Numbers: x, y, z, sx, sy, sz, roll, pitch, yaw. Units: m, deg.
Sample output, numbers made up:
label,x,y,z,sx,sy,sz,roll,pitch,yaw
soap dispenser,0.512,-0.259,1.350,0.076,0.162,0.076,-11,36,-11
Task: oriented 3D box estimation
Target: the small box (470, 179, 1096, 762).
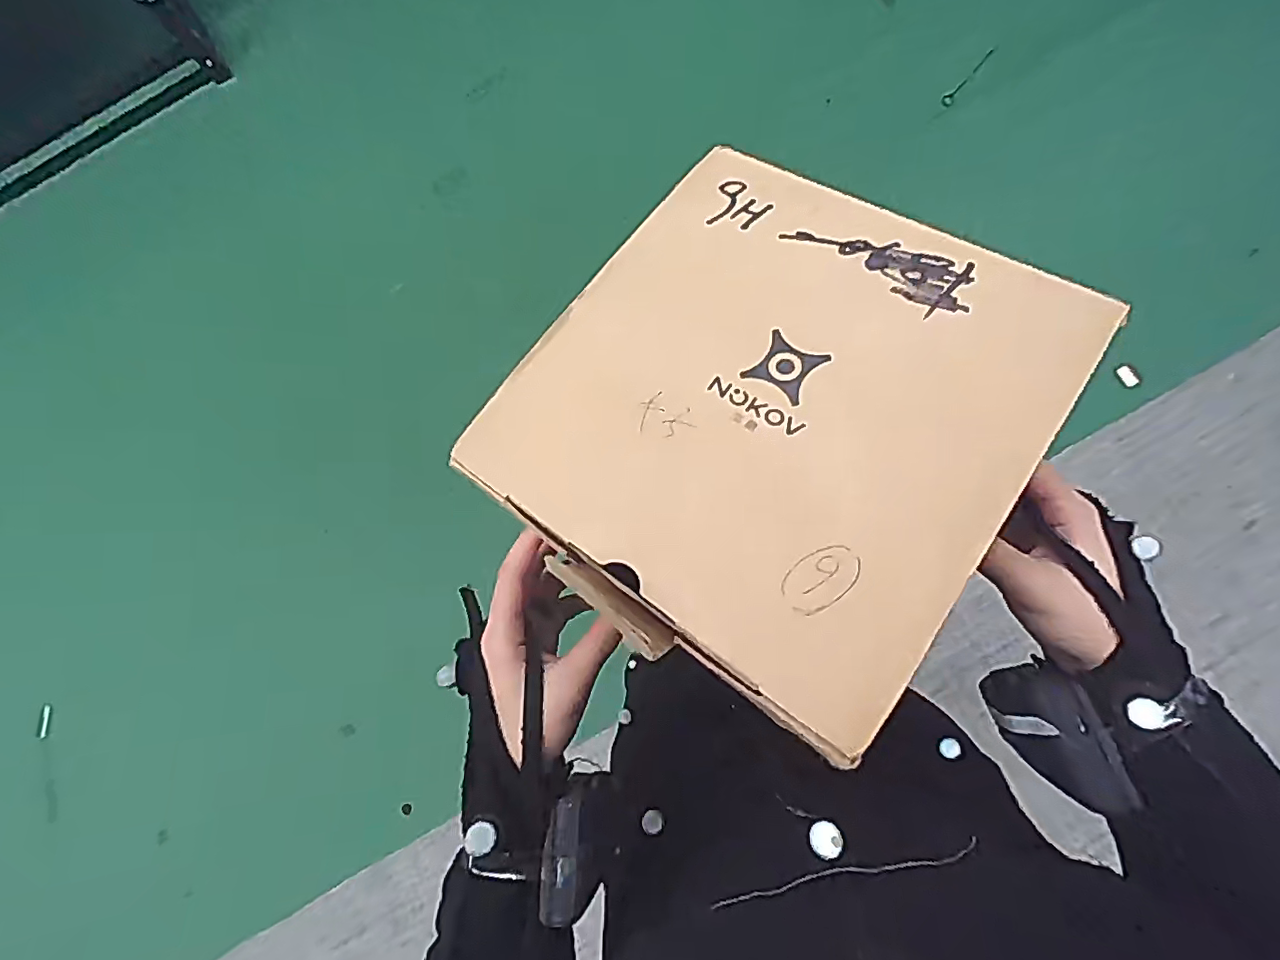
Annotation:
label,x,y,z,sx,sy,sz,roll,pitch,yaw
small box,0.059,0.002,0.273,0.168,0.176,0.179,34,79,19
